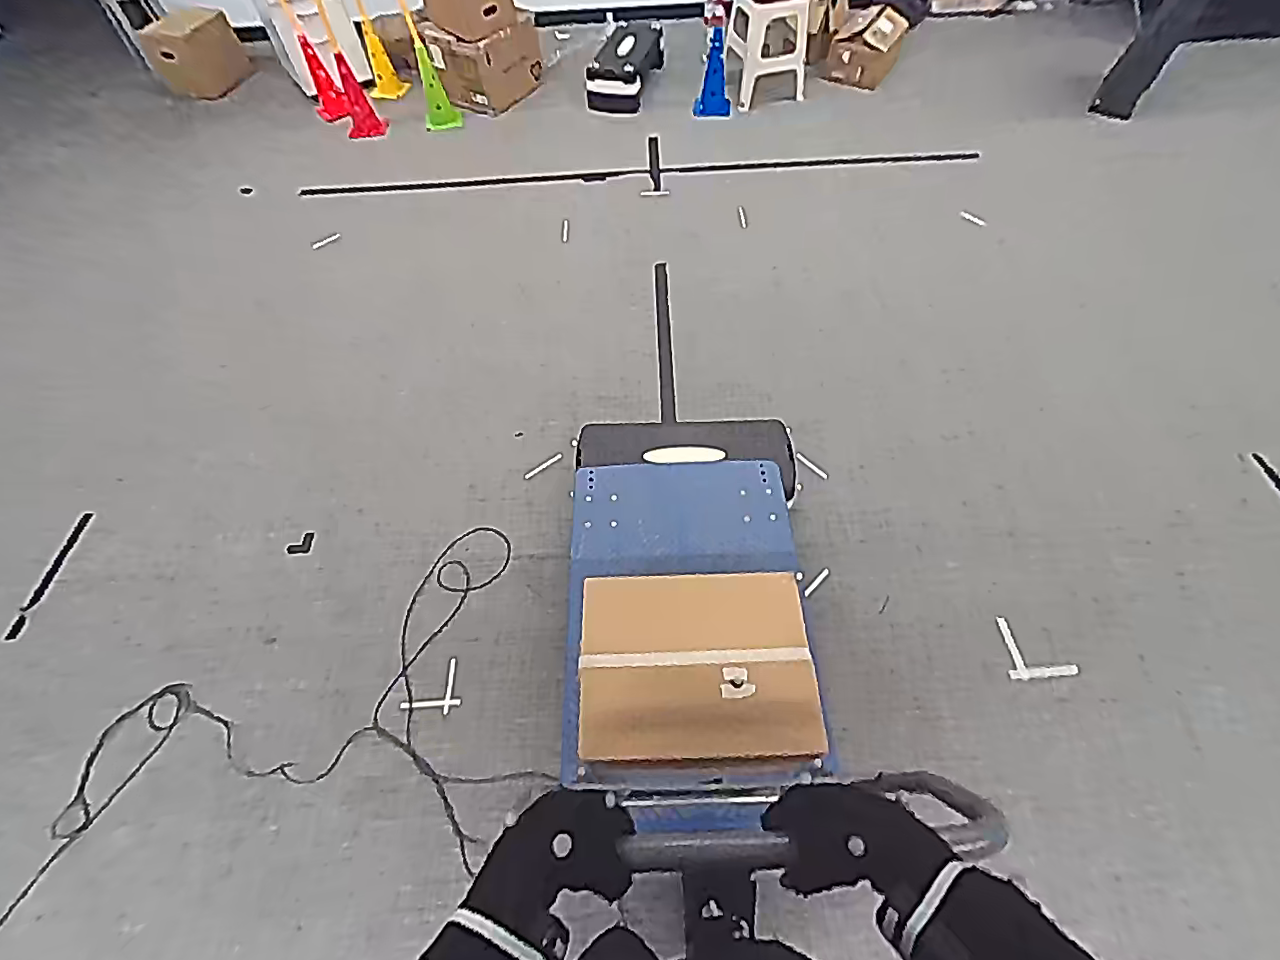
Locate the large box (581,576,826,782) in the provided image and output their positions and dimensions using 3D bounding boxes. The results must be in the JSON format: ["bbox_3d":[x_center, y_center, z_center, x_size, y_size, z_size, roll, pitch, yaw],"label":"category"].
[{"bbox_3d":[0.097,0.400,1.067,0.408,0.320,0.320,-2,58,0],"label":"large box"}]
